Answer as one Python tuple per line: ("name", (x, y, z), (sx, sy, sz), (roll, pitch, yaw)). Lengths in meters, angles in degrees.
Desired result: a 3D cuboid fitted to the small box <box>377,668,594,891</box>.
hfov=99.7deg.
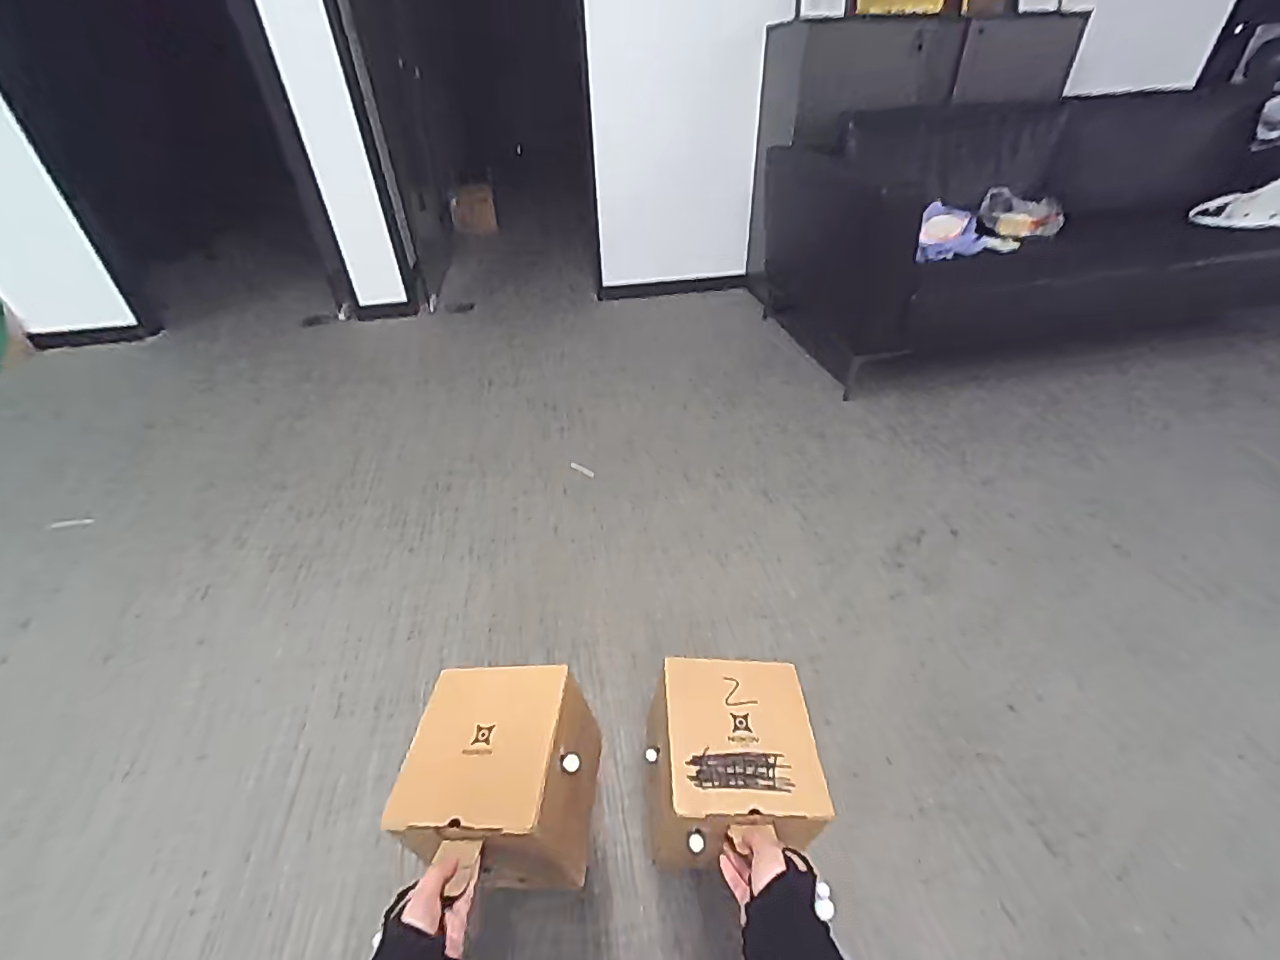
("small box", (-0.158, 0.343, 0.628), (0.168, 0.176, 0.179), (-6, 39, 11))
